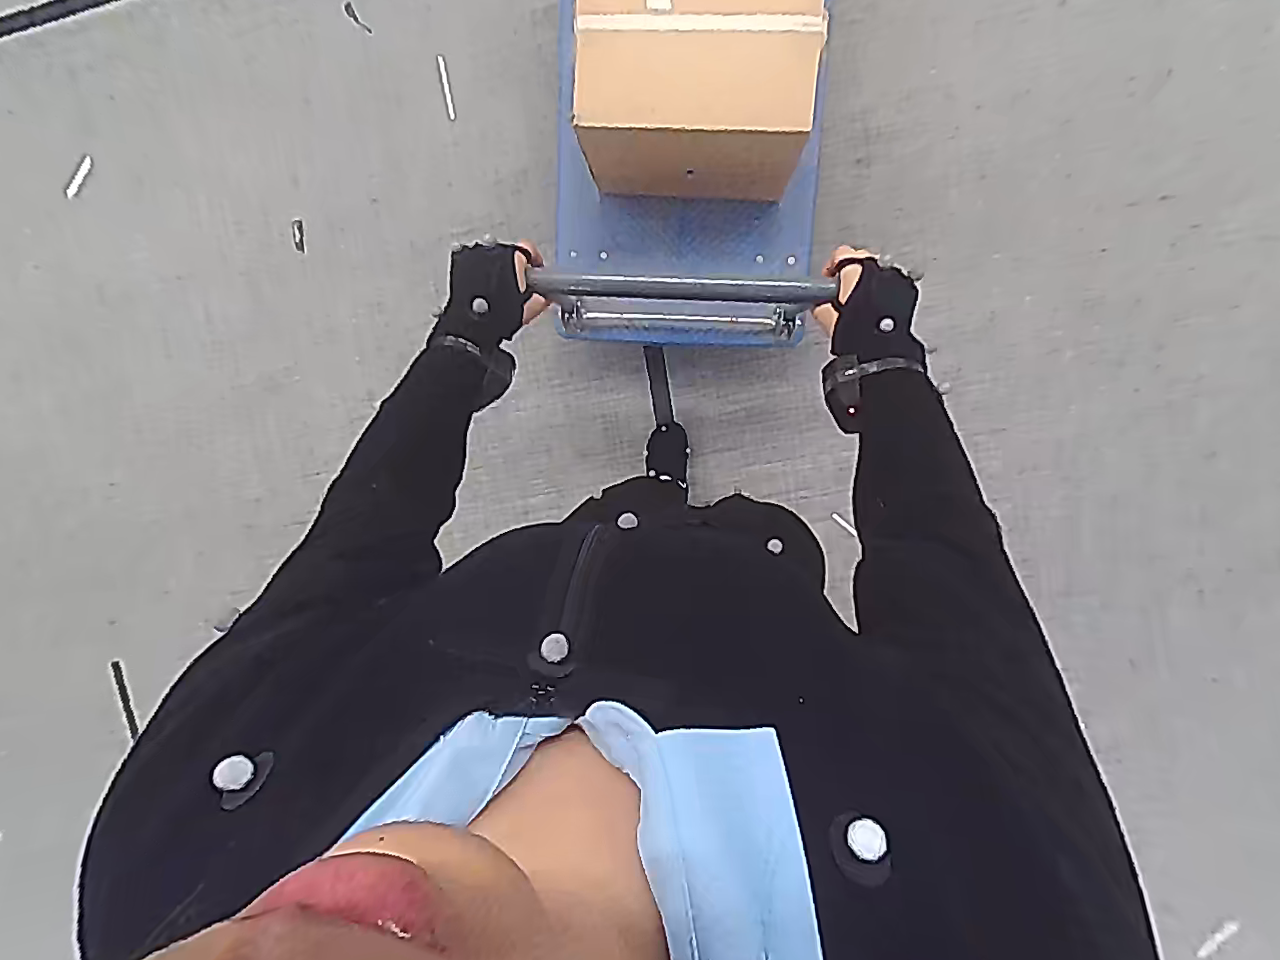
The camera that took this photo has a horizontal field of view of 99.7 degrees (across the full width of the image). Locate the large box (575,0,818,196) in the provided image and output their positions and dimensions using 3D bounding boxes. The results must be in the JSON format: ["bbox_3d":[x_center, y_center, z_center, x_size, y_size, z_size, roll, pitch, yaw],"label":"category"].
[{"bbox_3d":[0.106,-0.768,1.049,0.408,0.320,0.320,4,97,5],"label":"large box"}]
